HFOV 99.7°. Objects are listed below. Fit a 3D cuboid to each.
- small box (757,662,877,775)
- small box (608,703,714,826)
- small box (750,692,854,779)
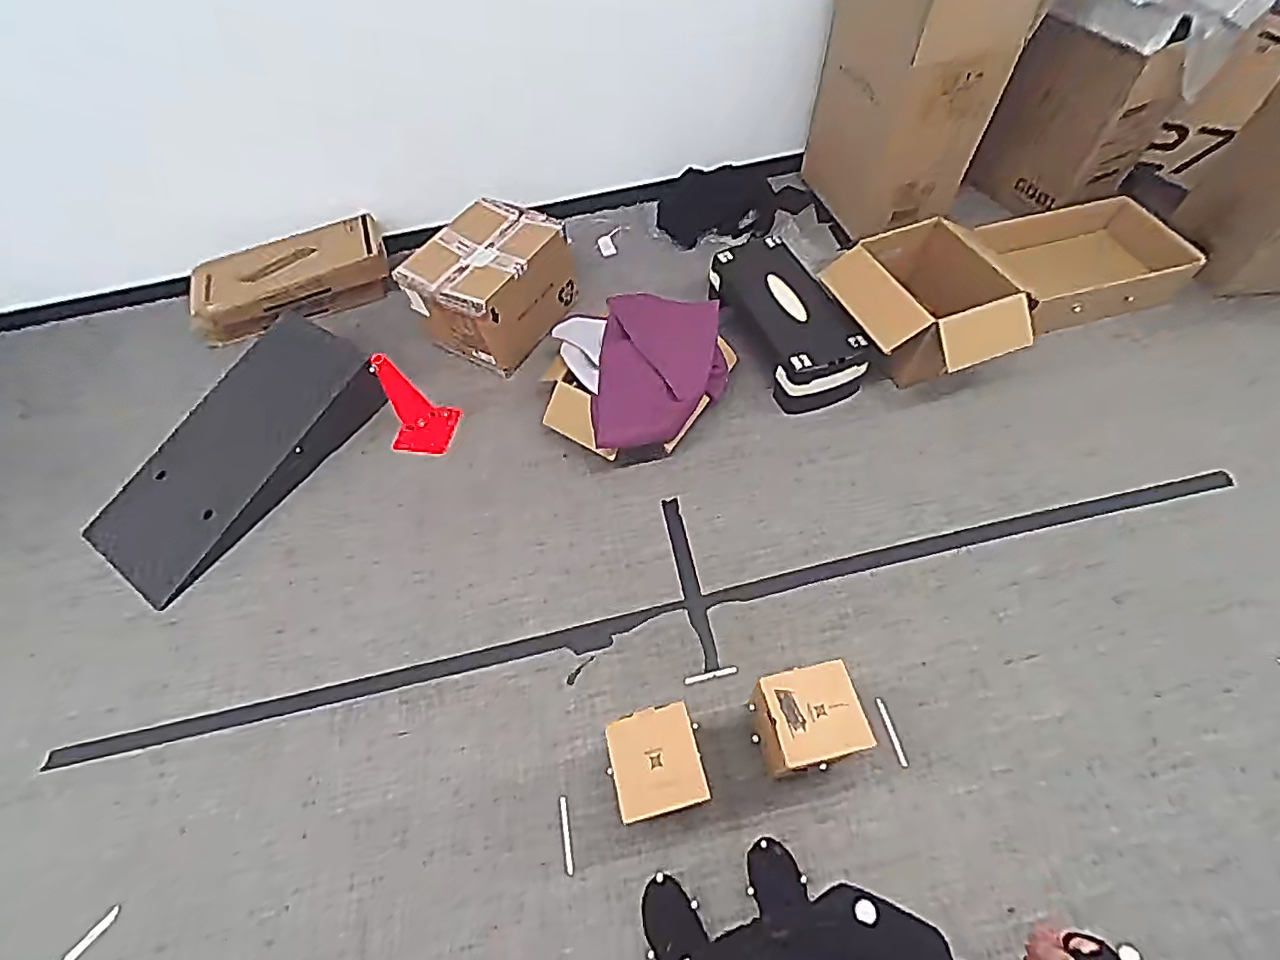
[{"bbox_3d":[0.345,0.490,1.101,0.179,0.176,0.168,-12,58,-3],"label":"small box"},{"bbox_3d":[0.041,0.570,1.081,0.168,0.176,0.179,-16,60,-3],"label":"small box"},{"bbox_3d":[0.362,0.574,1.241,0.168,0.176,0.179,-10,59,-3],"label":"small box"}]
